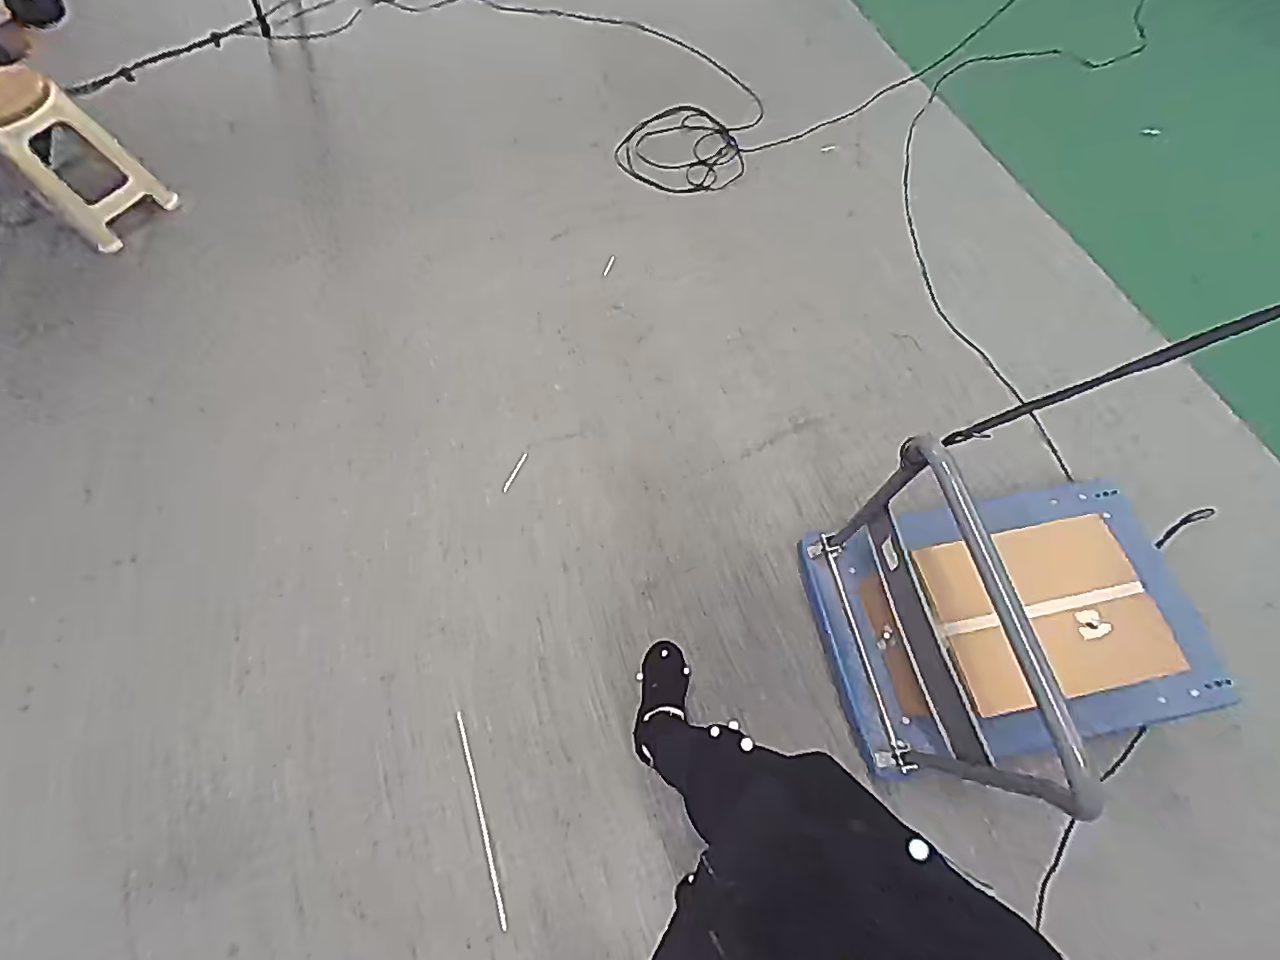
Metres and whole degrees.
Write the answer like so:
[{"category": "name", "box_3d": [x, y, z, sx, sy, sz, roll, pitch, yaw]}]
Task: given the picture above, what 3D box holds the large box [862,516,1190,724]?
[{"category": "large box", "box_3d": [0.760, 0.308, 1.143, 0.408, 0.320, 0.320, -11, 67, -4]}]
